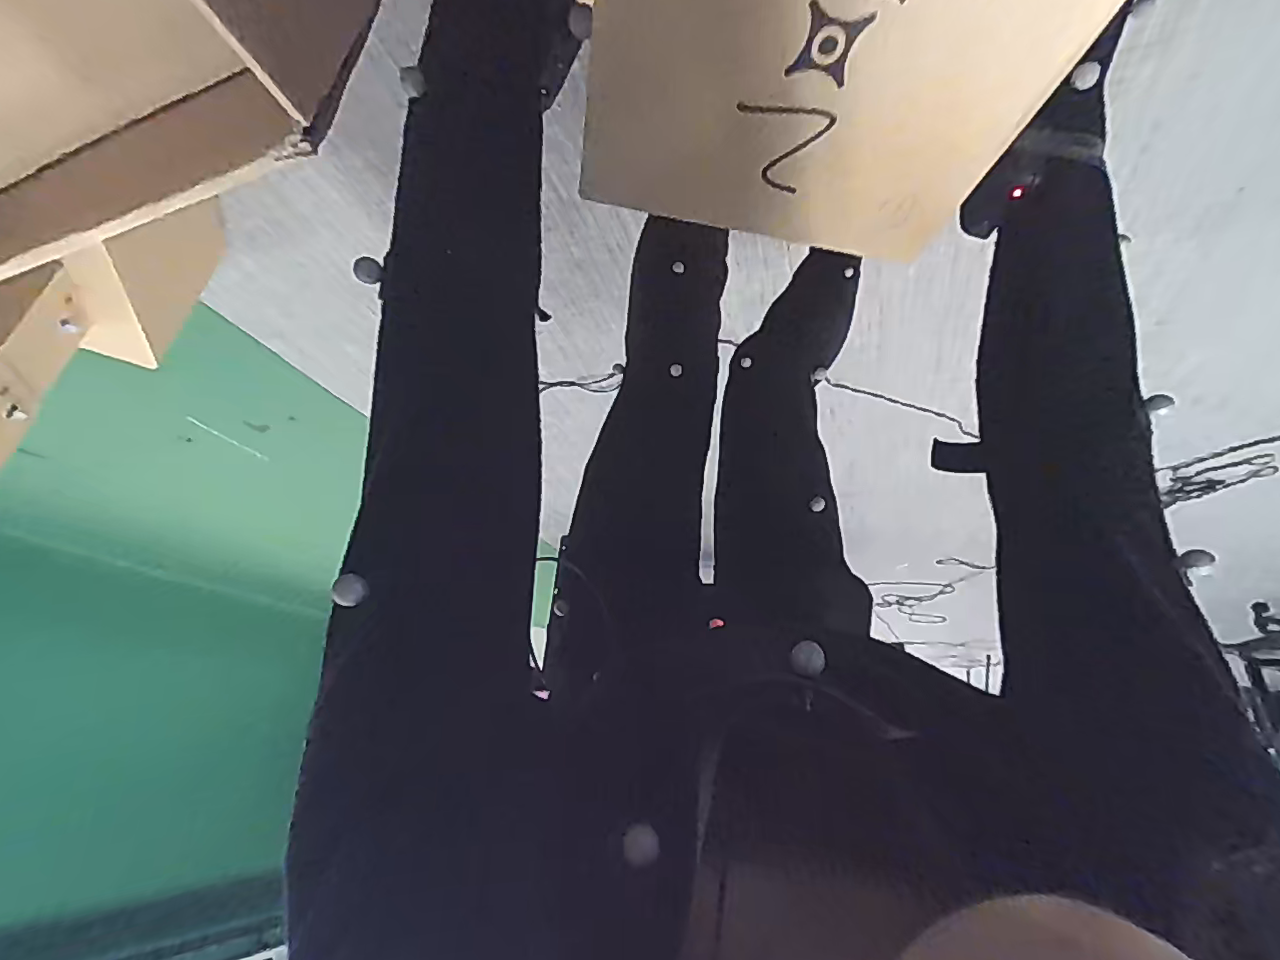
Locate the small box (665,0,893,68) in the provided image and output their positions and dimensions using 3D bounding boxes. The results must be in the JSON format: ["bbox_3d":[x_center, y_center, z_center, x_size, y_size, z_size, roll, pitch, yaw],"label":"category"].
[{"bbox_3d":[0.083,-0.379,0.283,0.168,0.176,0.179,10,153,-12],"label":"small box"}]

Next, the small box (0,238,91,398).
[{"bbox_3d":[-0.937,-0.240,0.754,0.179,0.176,0.168,19,151,-28],"label":"small box"}]

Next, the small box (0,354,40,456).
[{"bbox_3d":[-0.943,-0.093,0.683,0.179,0.176,0.168,18,152,-25],"label":"small box"}]
